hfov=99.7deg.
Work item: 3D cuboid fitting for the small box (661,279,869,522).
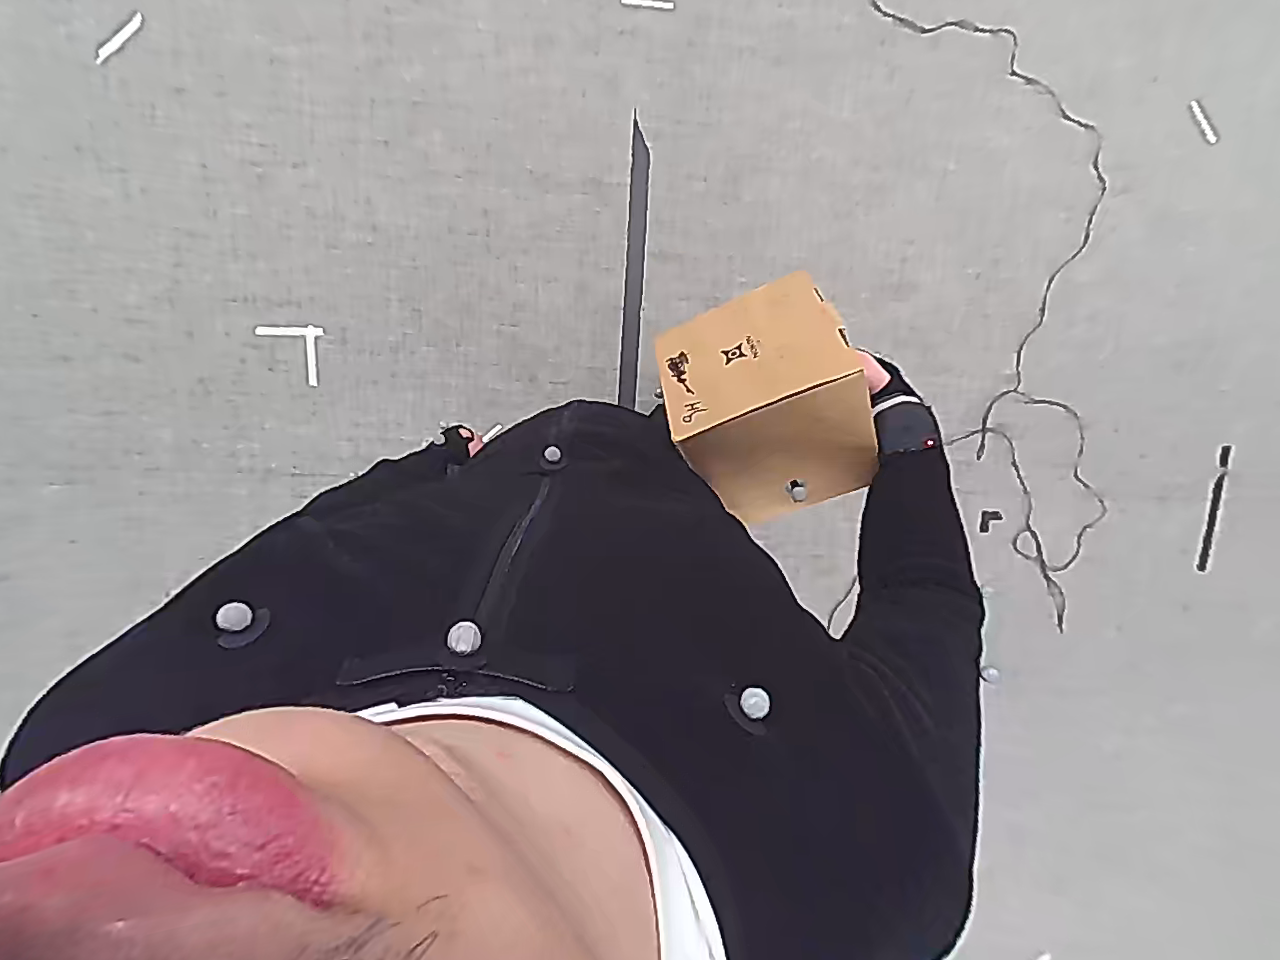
[{"bbox_3d":[0.141,-0.081,0.601,0.179,0.168,0.176,-20,137,14],"label":"small box"}]
